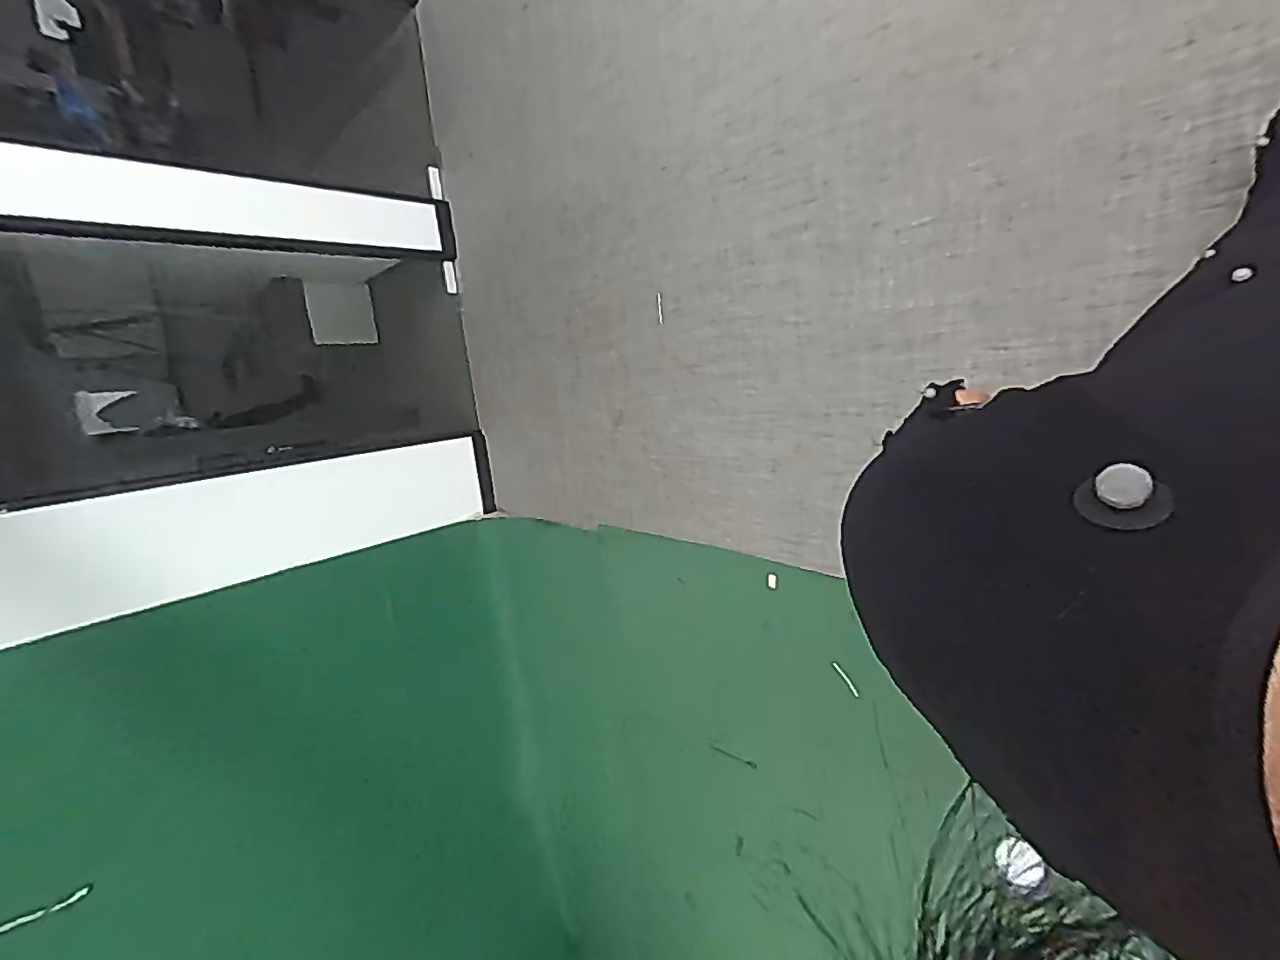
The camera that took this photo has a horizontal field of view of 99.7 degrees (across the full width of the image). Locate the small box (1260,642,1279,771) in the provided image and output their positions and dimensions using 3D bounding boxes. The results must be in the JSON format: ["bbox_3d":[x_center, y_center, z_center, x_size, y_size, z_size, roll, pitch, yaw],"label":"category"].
[{"bbox_3d":[1.170,0.400,0.900,0.168,0.176,0.179,6,105,45],"label":"small box"}]
